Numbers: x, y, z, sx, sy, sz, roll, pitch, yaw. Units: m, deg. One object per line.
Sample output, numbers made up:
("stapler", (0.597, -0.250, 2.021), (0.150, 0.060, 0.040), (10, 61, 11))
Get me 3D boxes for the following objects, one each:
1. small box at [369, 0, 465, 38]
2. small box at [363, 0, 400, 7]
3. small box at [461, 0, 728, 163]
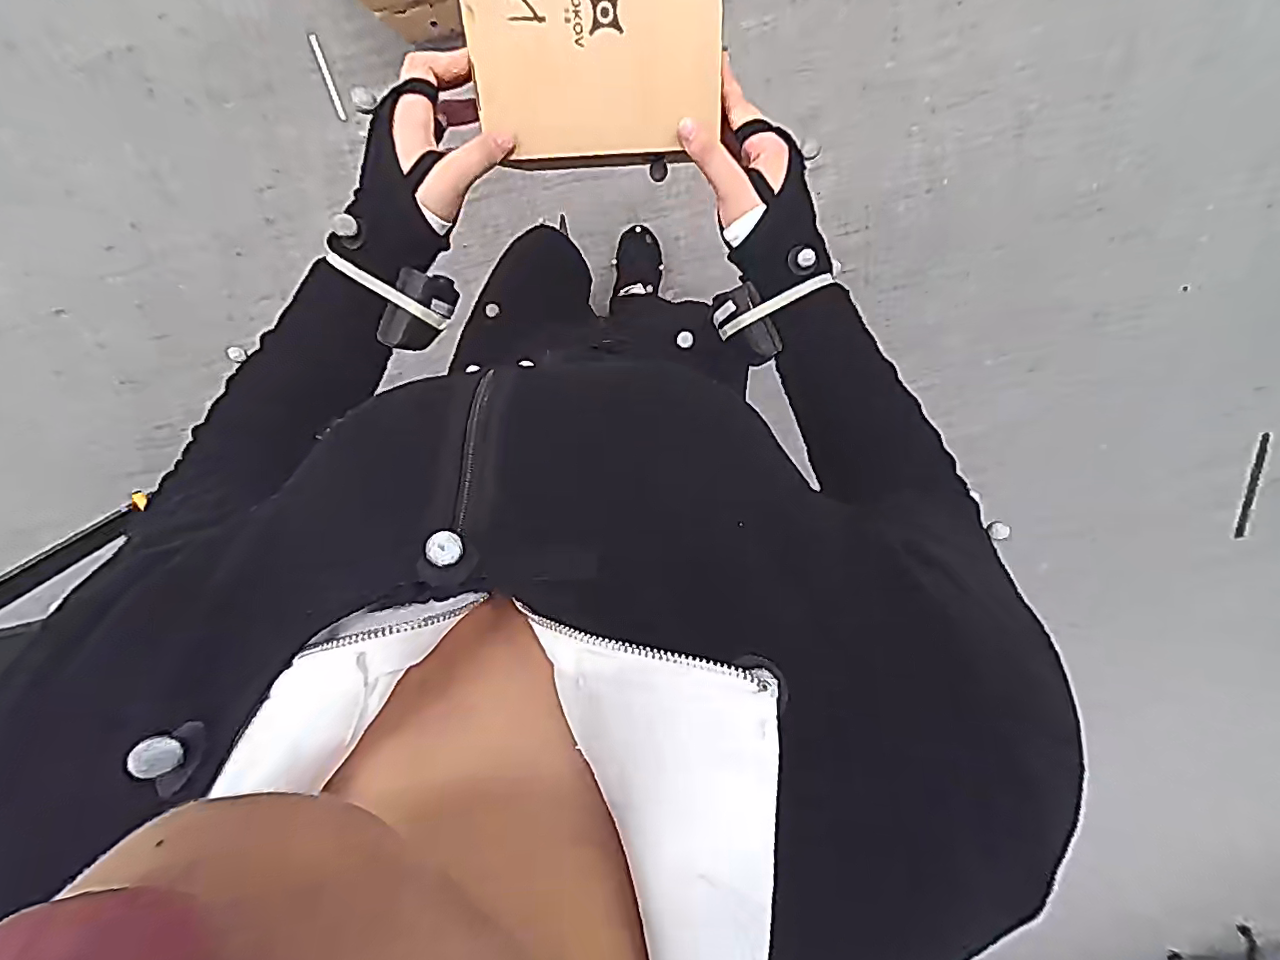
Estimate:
("small box", (-0.418, -0.955, 1.003), (0.168, 0.176, 0.179), (-10, 116, 4))
("small box", (-0.413, -0.889, 0.850), (0.179, 0.176, 0.168), (-10, 116, 3))
("small box", (-0.030, -0.348, 0.420), (0.179, 0.176, 0.168), (-2, 117, 2))
